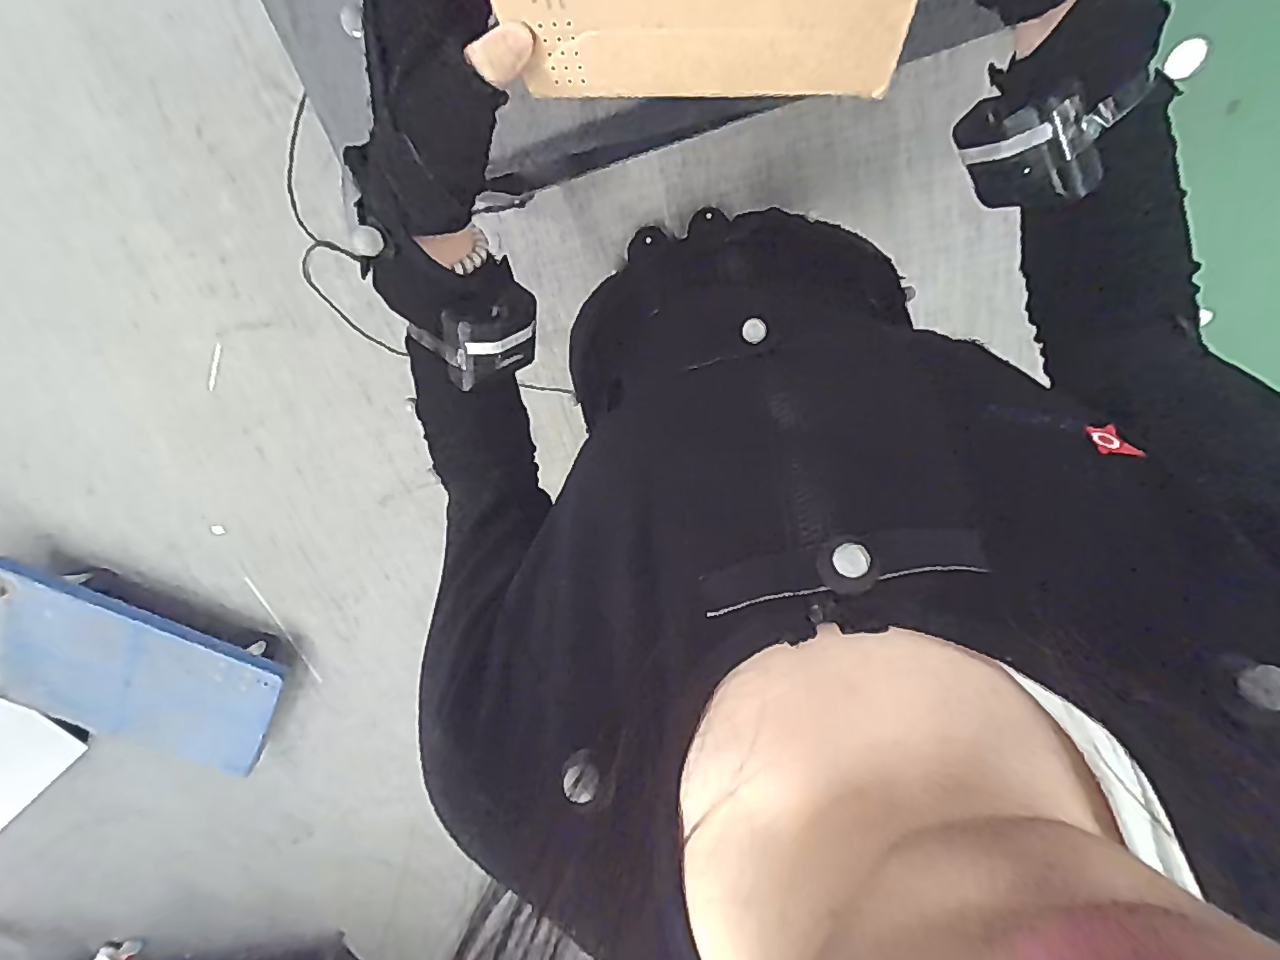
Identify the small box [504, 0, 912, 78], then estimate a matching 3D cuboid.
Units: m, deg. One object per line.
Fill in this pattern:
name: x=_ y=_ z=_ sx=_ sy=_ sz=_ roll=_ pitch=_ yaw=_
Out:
small box: x=0.025 y=-0.279 z=0.187 sx=0.176 sy=0.168 sz=0.179 roll=6 pitch=81 yaw=10
